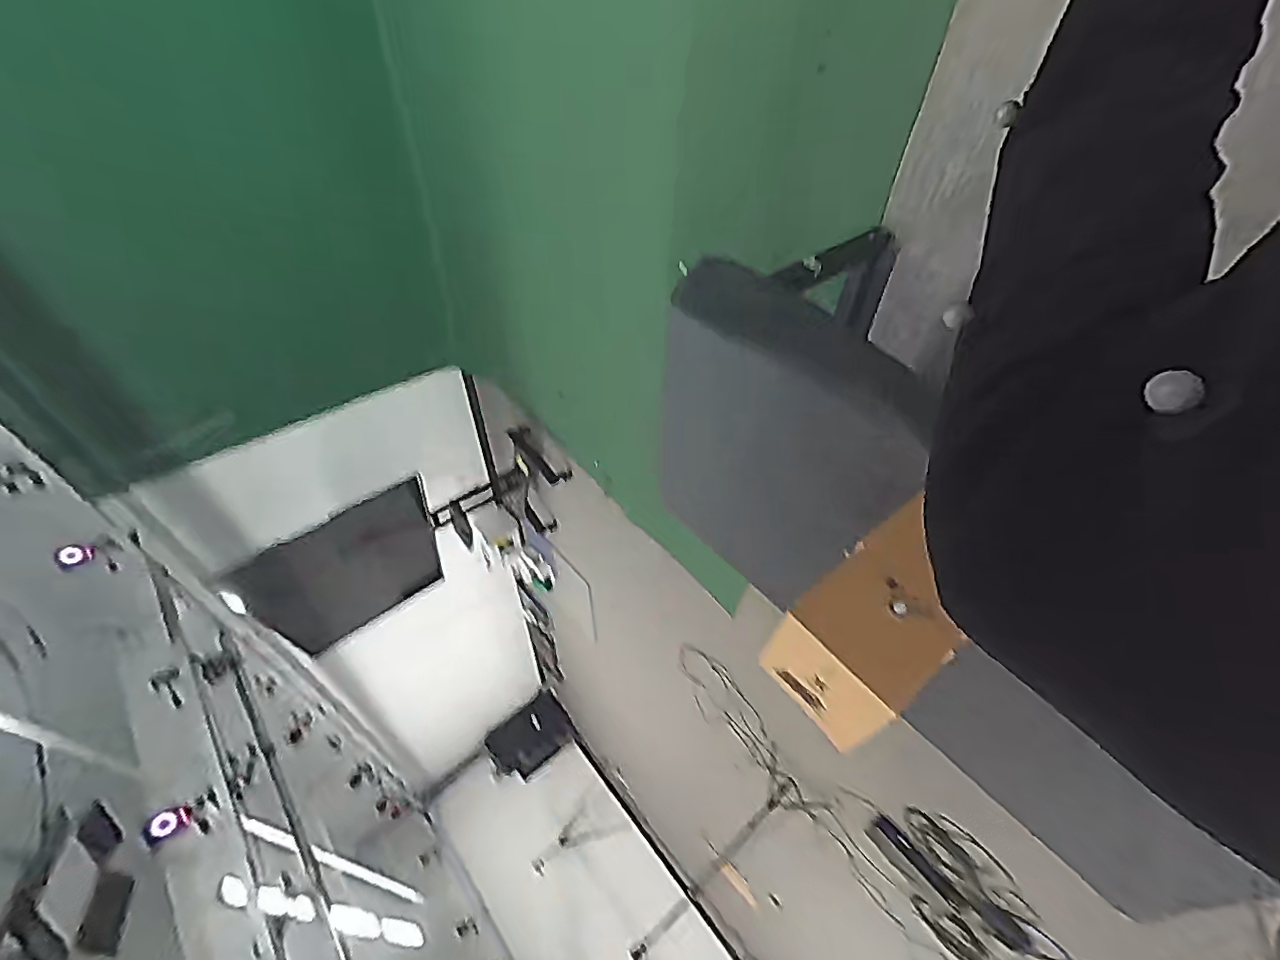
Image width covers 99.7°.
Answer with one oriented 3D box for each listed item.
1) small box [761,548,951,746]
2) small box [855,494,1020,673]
[{"bbox_3d":[0.299,0.233,0.767,0.168,0.176,0.179,43,152,31],"label":"small box"},{"bbox_3d":[0.428,0.152,0.830,0.179,0.176,0.168,43,150,29],"label":"small box"}]
